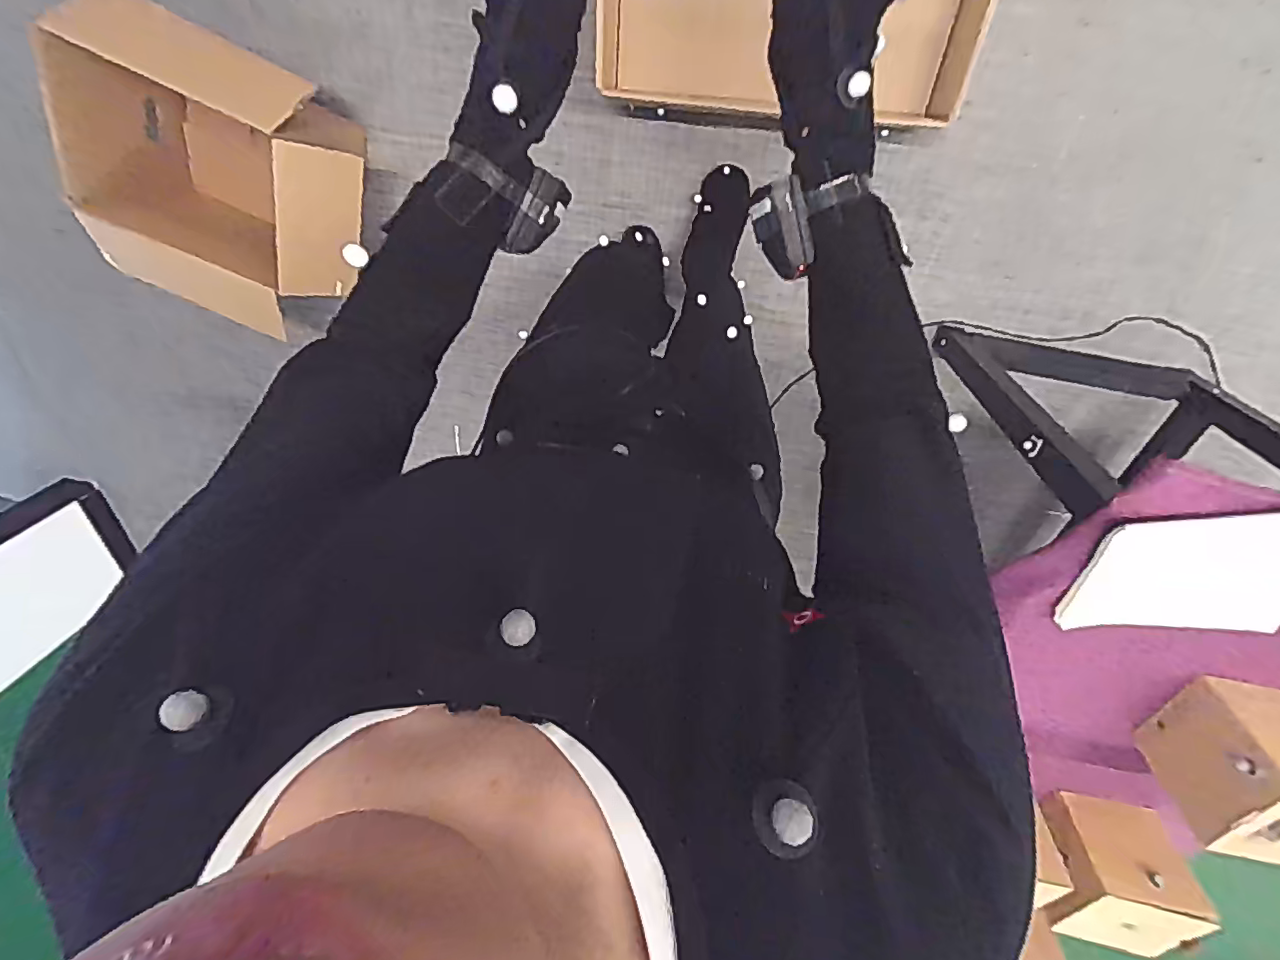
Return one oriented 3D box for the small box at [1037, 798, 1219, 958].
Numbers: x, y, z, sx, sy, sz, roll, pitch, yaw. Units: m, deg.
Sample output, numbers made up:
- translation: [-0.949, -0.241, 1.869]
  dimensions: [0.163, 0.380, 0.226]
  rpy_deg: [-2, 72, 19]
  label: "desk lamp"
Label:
- translation: [0.819, 0.695, 0.956]
  dimensions: [0.179, 0.176, 0.168]
  rpy_deg: [11, 125, 2]
  label: "small box"
